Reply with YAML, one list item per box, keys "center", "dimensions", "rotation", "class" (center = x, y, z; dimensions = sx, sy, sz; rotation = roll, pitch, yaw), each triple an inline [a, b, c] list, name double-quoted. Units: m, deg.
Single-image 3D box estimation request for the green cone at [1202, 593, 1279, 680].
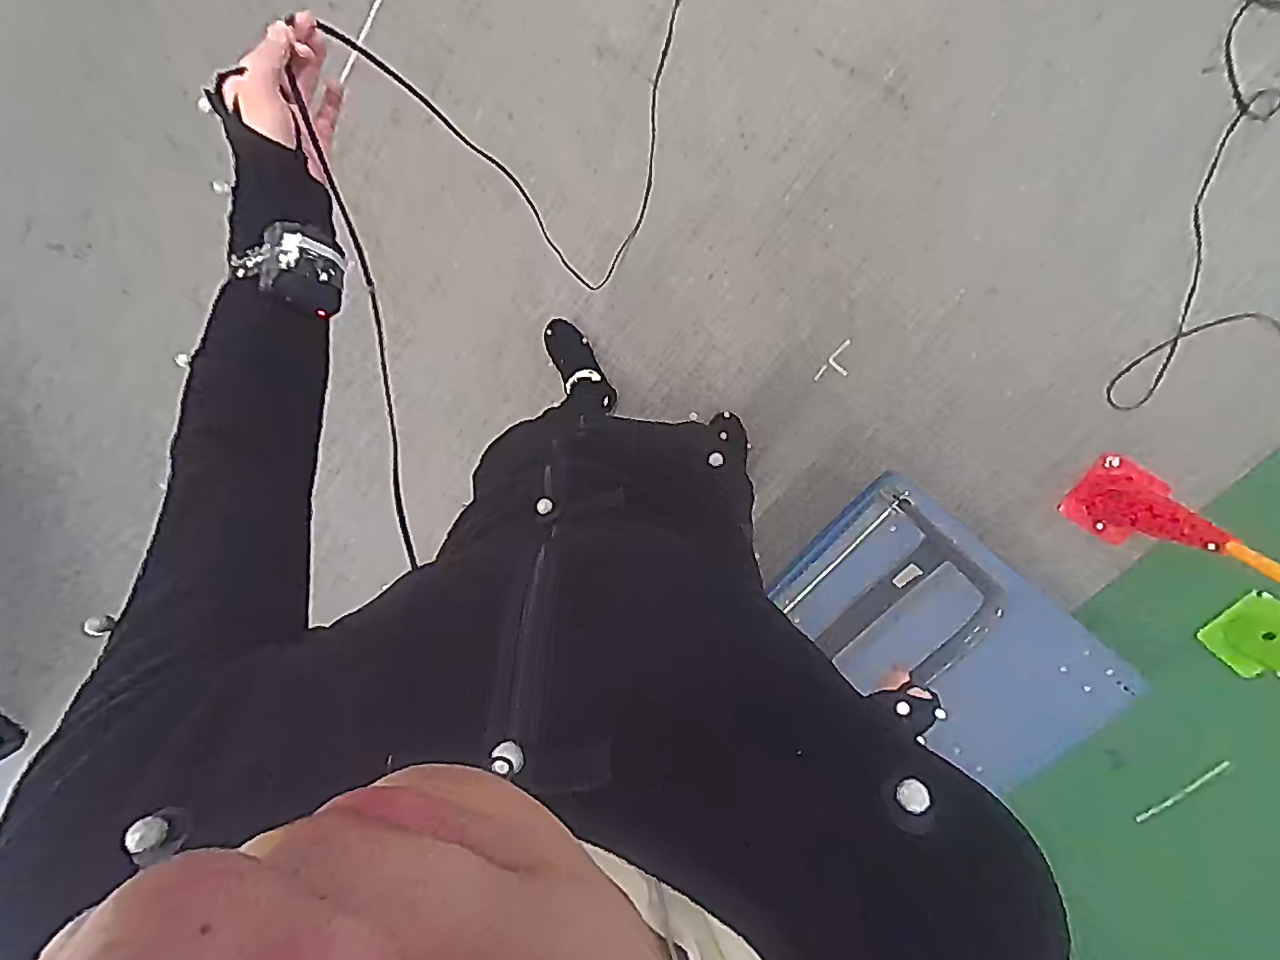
- center: [1.634, 0.462, 1.286]
  dimensions: [0.202, 0.368, 0.200]
  rotation: [39, 105, -3]
  class: "green cone"
